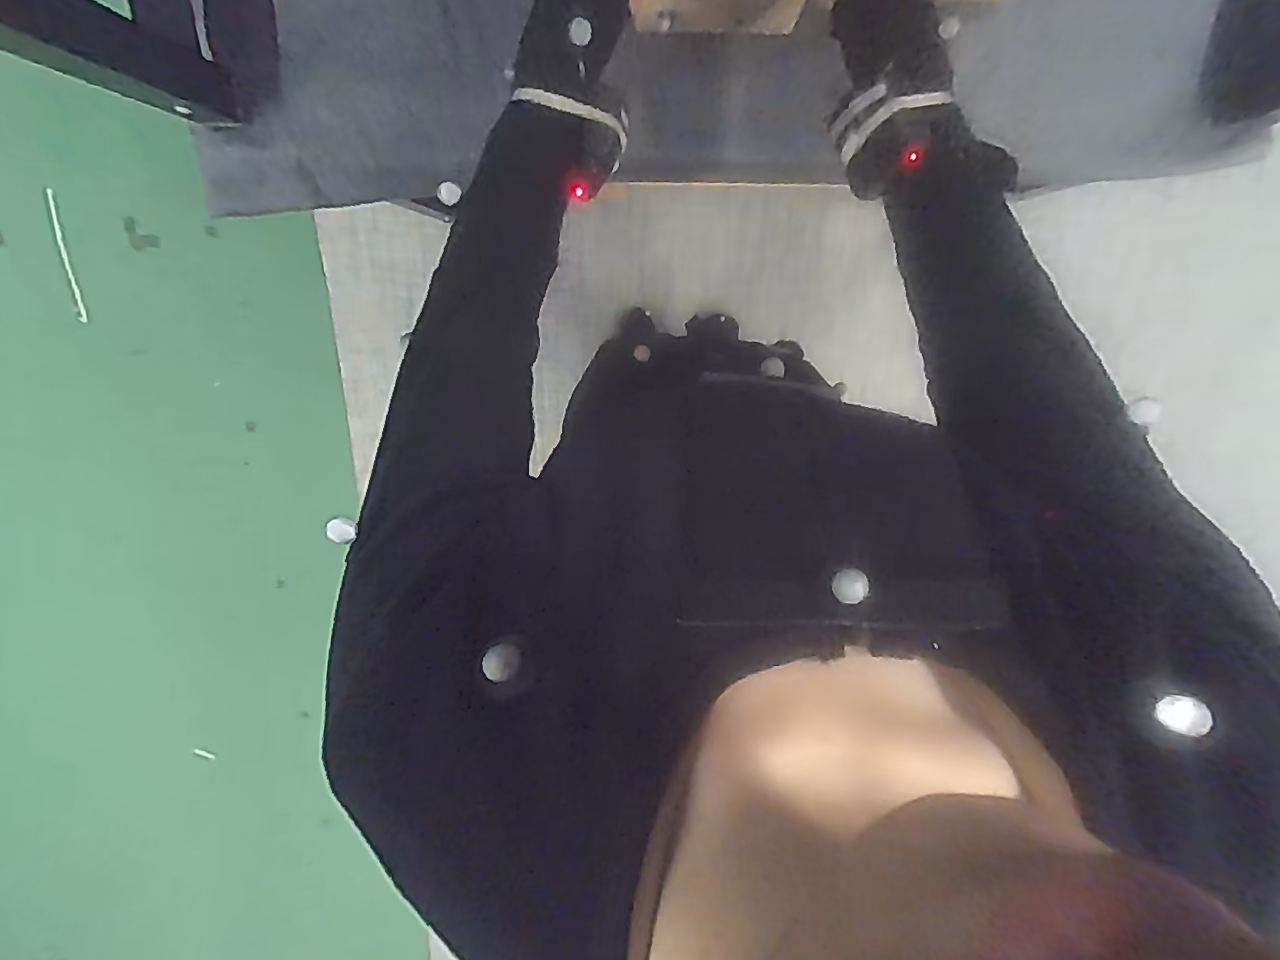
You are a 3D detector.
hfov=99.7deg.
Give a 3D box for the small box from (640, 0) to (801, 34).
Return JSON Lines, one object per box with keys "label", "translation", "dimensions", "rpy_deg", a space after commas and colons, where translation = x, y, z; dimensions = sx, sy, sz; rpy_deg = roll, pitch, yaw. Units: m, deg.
{"label": "small box", "translation": [0.081, -0.544, 0.486], "dimensions": [0.168, 0.176, 0.179], "rpy_deg": [2, 103, 1]}
